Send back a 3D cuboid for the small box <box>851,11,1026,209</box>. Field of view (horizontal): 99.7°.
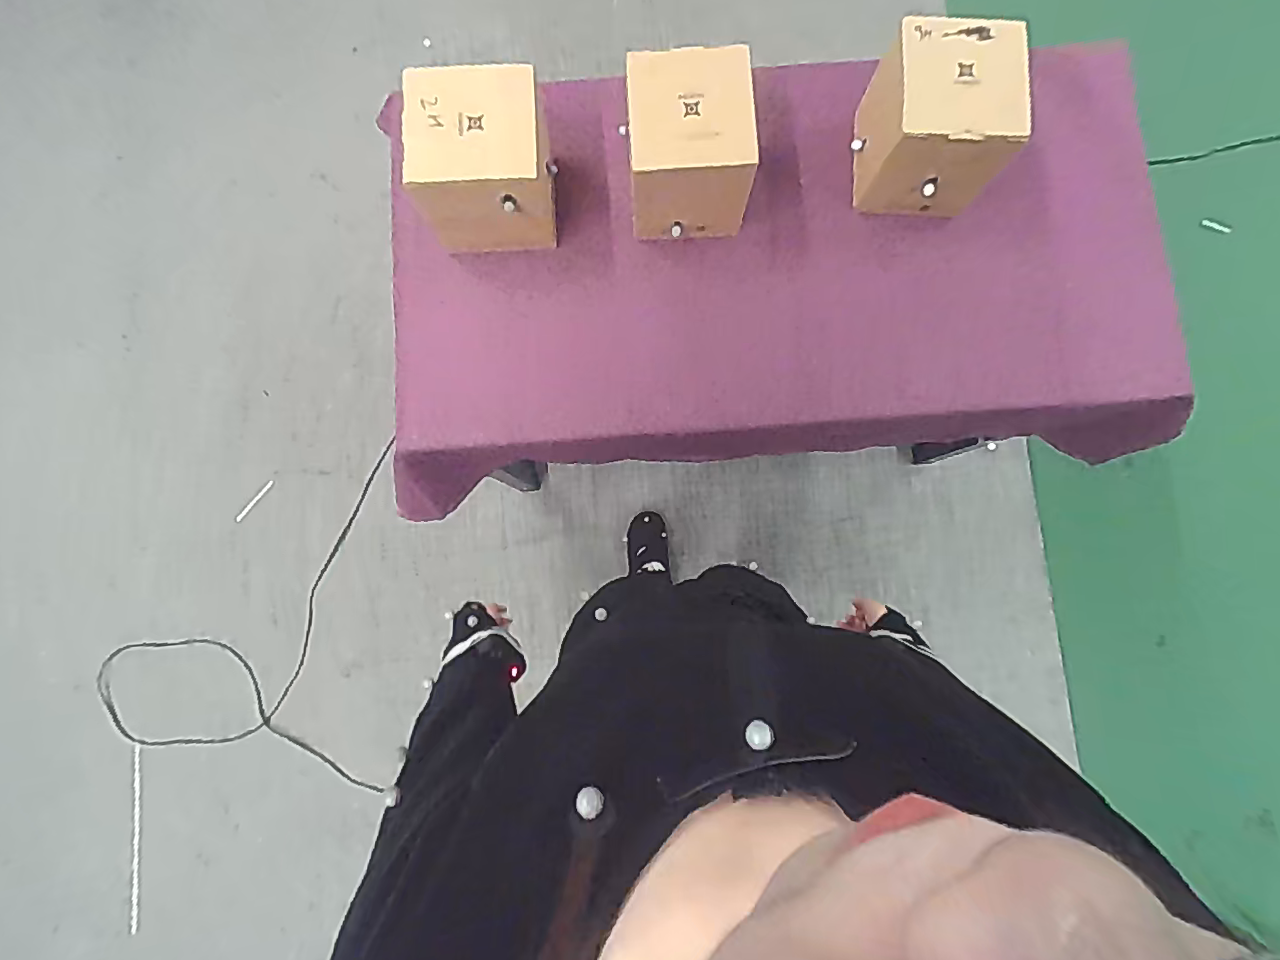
[{"bbox_3d":[0.418,-0.520,0.781,0.168,0.176,0.179,3,84,1],"label":"small box"}]

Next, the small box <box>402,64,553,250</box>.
[{"bbox_3d":[-0.223,-0.455,0.782,0.179,0.176,0.168,-3,82,0],"label":"small box"}]

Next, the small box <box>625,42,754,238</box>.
[{"bbox_3d":[0.064,-0.480,0.784,0.168,0.176,0.179,-3,83,1],"label":"small box"}]
